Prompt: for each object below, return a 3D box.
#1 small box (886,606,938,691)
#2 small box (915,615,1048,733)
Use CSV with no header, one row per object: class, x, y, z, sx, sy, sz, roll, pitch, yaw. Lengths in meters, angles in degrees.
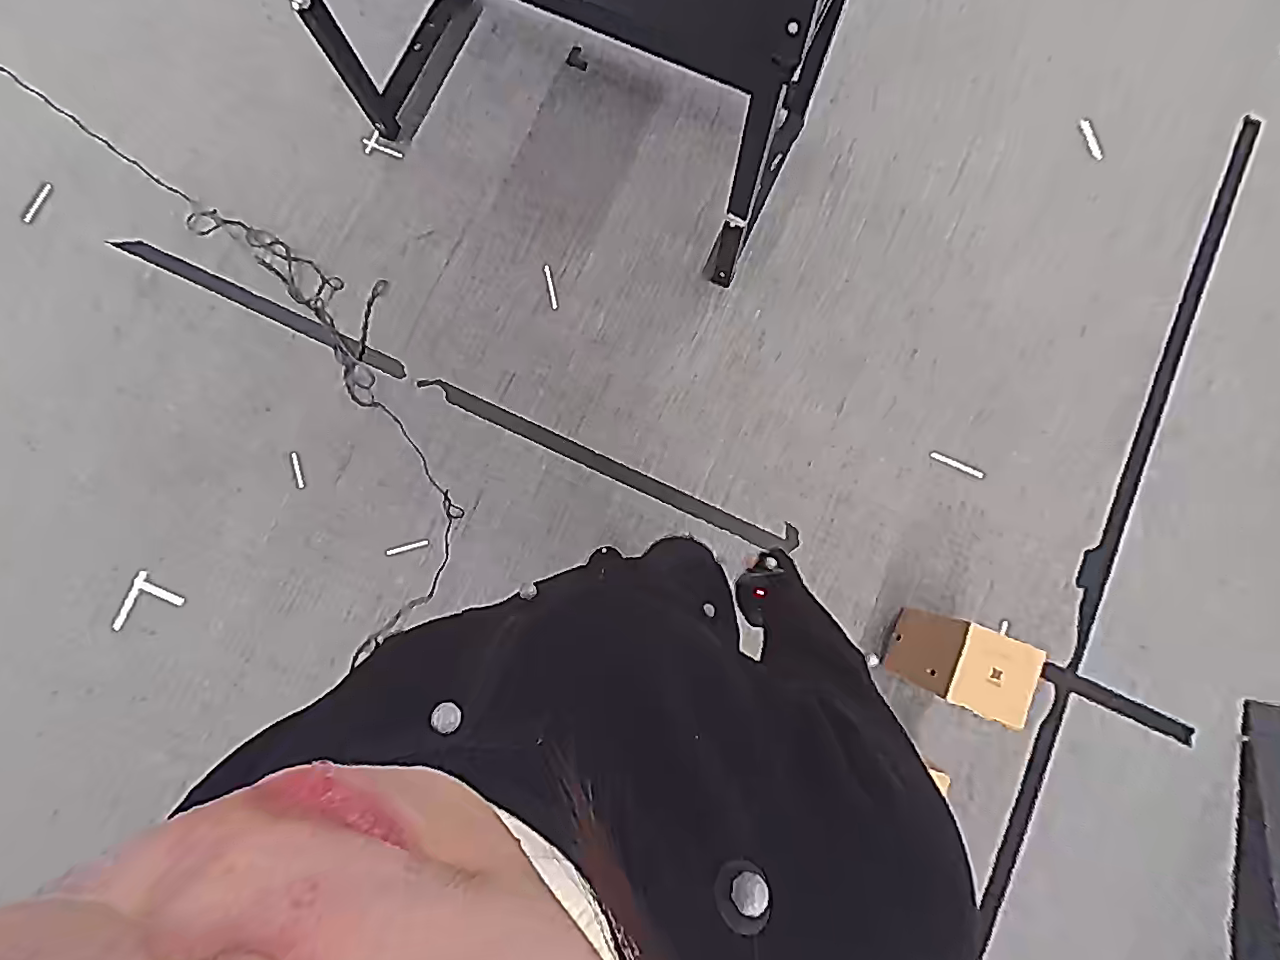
small box,0.750,0.439,1.361,0.168,0.176,0.179,24,86,4
small box,0.742,0.418,1.198,0.168,0.176,0.179,23,84,4
